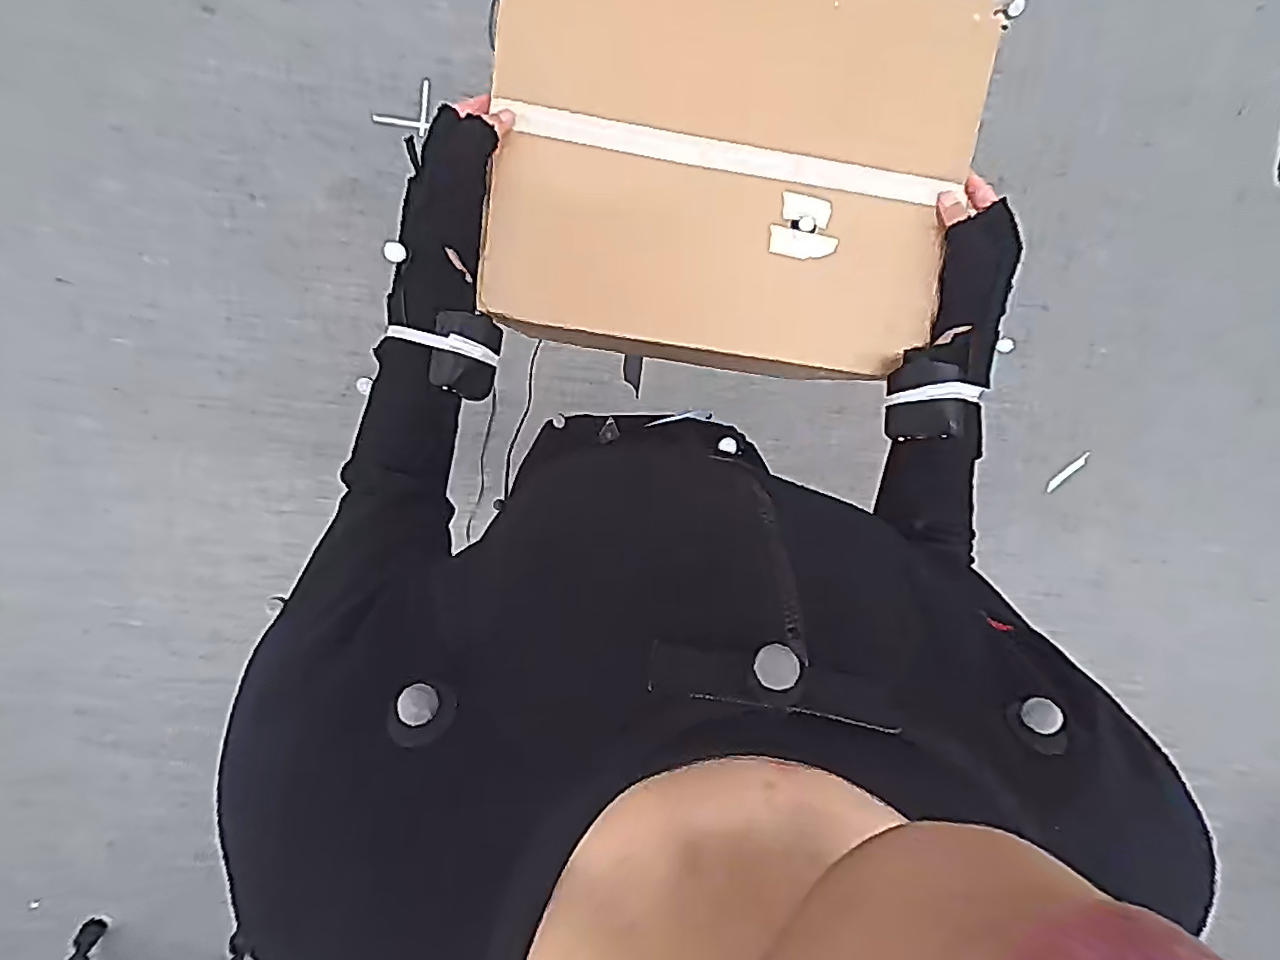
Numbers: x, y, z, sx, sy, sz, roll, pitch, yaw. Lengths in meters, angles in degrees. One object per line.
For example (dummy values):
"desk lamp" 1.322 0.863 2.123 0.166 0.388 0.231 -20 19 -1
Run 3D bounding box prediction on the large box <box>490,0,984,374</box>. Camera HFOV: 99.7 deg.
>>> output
"large box" 0.067 -0.300 0.612 0.408 0.320 0.320 7 101 -7
